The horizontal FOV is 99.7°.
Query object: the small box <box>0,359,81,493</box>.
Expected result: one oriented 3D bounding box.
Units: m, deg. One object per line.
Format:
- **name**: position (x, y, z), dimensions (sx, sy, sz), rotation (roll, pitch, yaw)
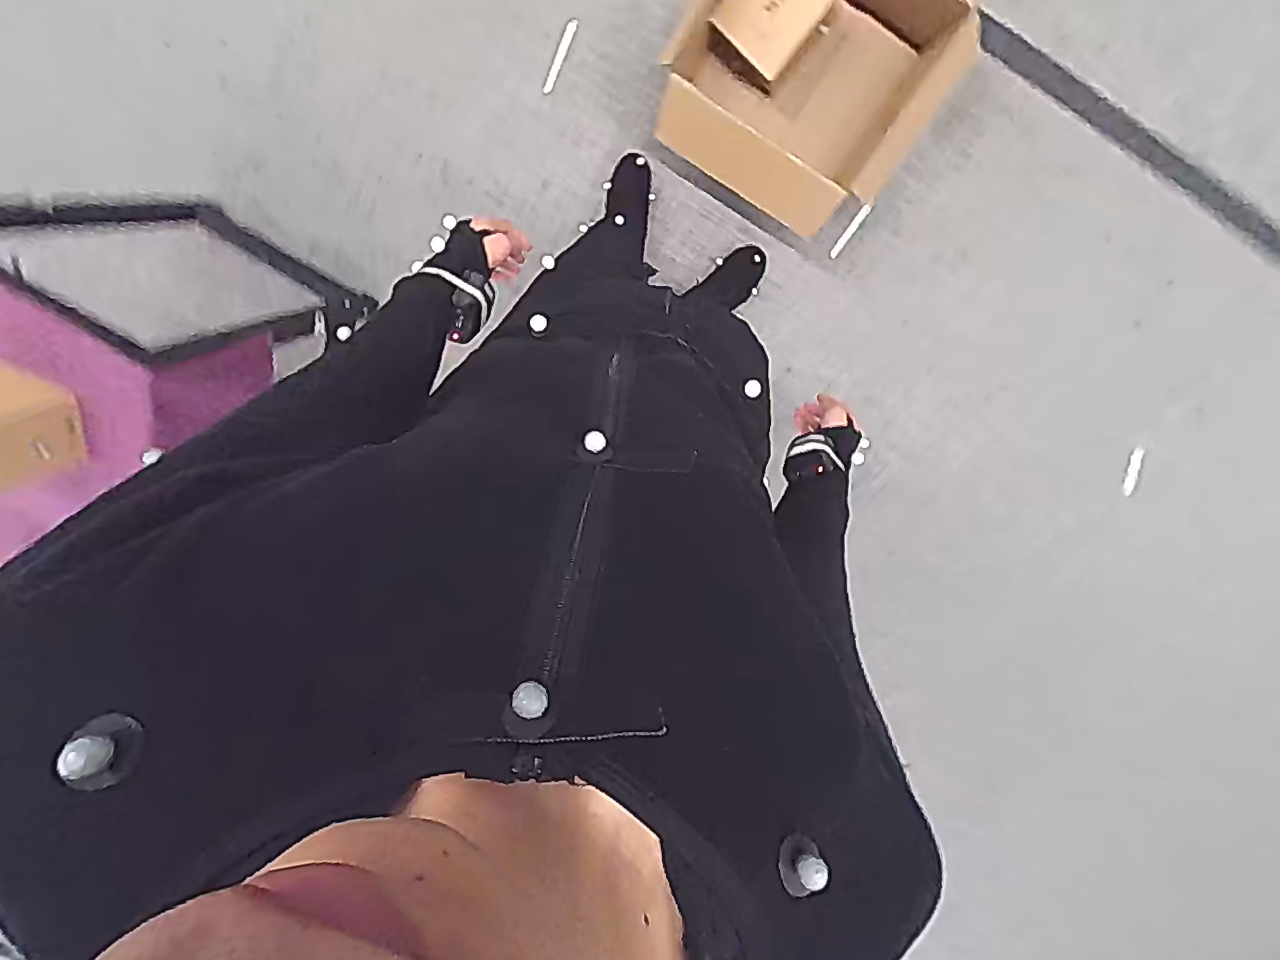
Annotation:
- **small box**: position (-1.224, -0.109, 1.027), dimensions (0.179, 0.176, 0.168), rotation (26, 120, -1)
